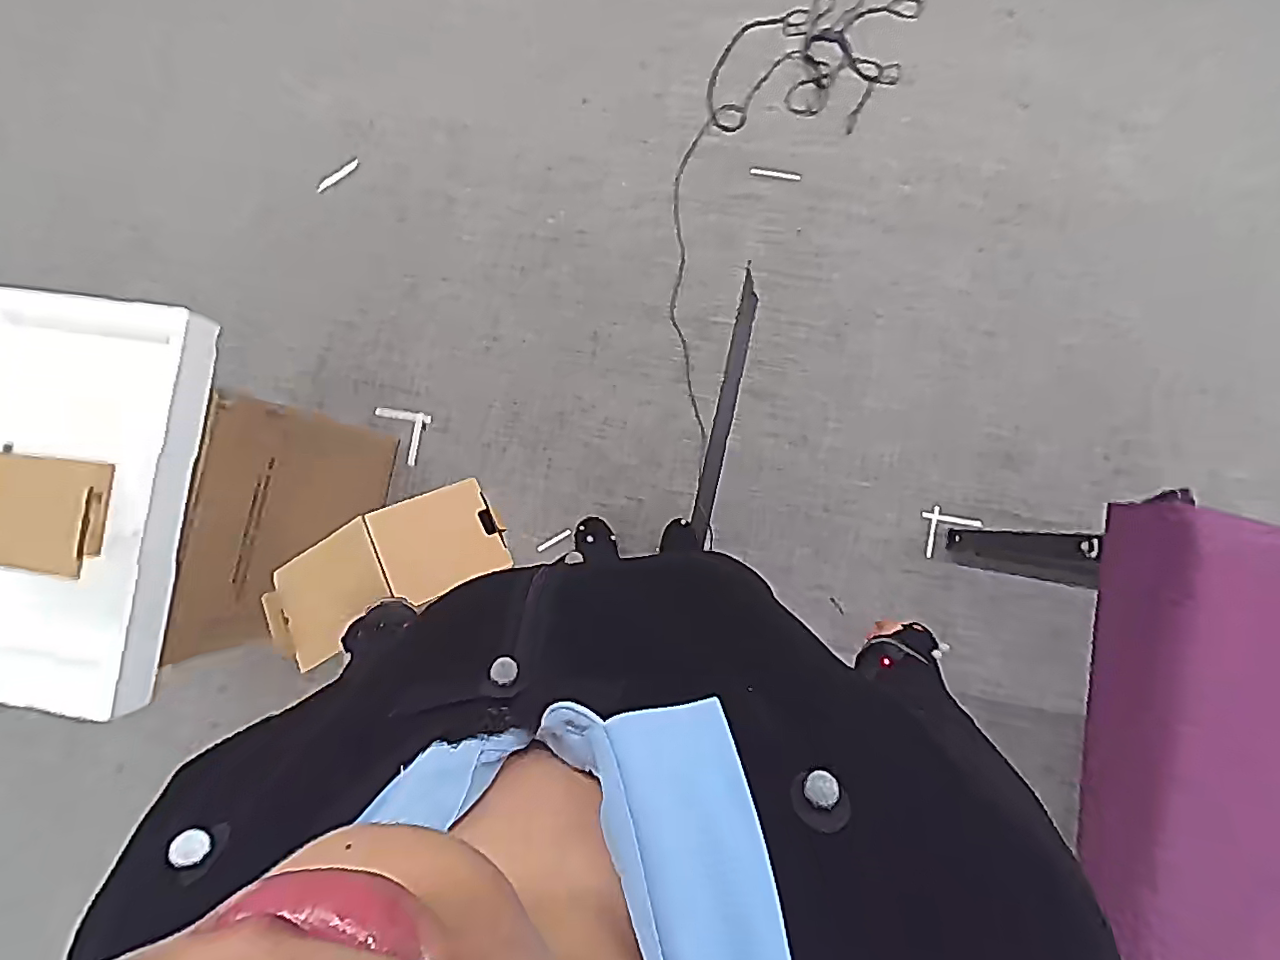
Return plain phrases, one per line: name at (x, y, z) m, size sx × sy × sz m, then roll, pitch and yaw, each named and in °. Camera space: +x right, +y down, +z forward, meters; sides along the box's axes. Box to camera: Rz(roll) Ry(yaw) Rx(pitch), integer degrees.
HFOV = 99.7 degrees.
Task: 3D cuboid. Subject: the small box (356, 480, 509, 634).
small box at (-0.323, 0.129, 0.870) m, size 0.179 × 0.176 × 0.168 m, roll -22°, pitch 72°, yaw -24°
